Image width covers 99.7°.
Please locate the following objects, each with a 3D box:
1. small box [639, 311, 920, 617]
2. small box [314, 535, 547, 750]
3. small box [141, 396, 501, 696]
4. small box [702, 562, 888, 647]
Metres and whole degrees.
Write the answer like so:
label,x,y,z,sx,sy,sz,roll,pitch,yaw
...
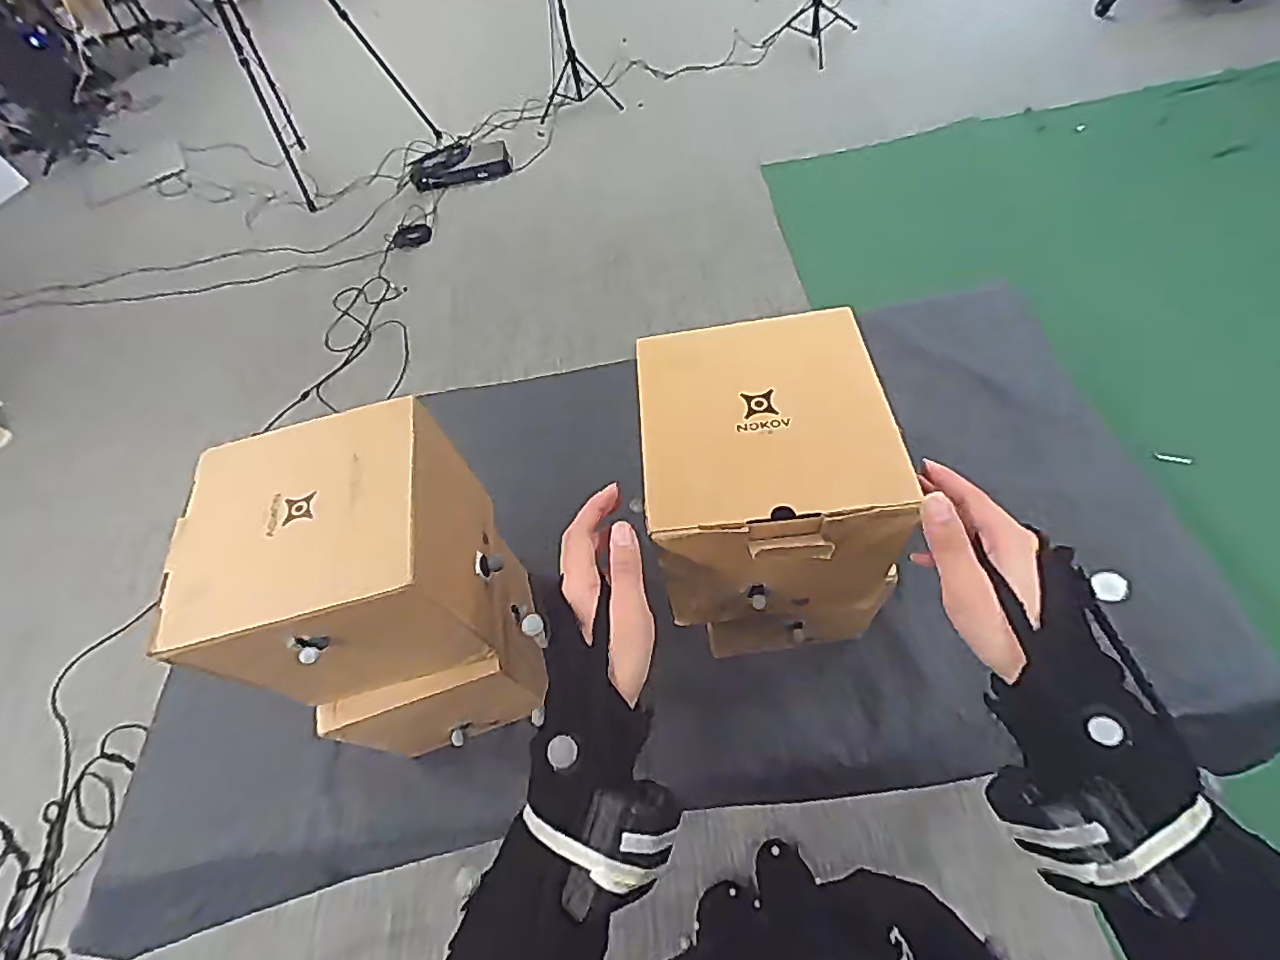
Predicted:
label,x,y,z,sx,sy,sz,roll,pitch,yaw
small box,0.092,-0.005,0.437,0.168,0.176,0.179,-7,57,5
small box,-0.210,0.162,0.572,0.168,0.176,0.179,-19,57,-3
small box,-0.230,0.063,0.444,0.179,0.176,0.168,-14,57,-1
small box,0.137,0.068,0.578,0.168,0.176,0.179,-10,57,3
